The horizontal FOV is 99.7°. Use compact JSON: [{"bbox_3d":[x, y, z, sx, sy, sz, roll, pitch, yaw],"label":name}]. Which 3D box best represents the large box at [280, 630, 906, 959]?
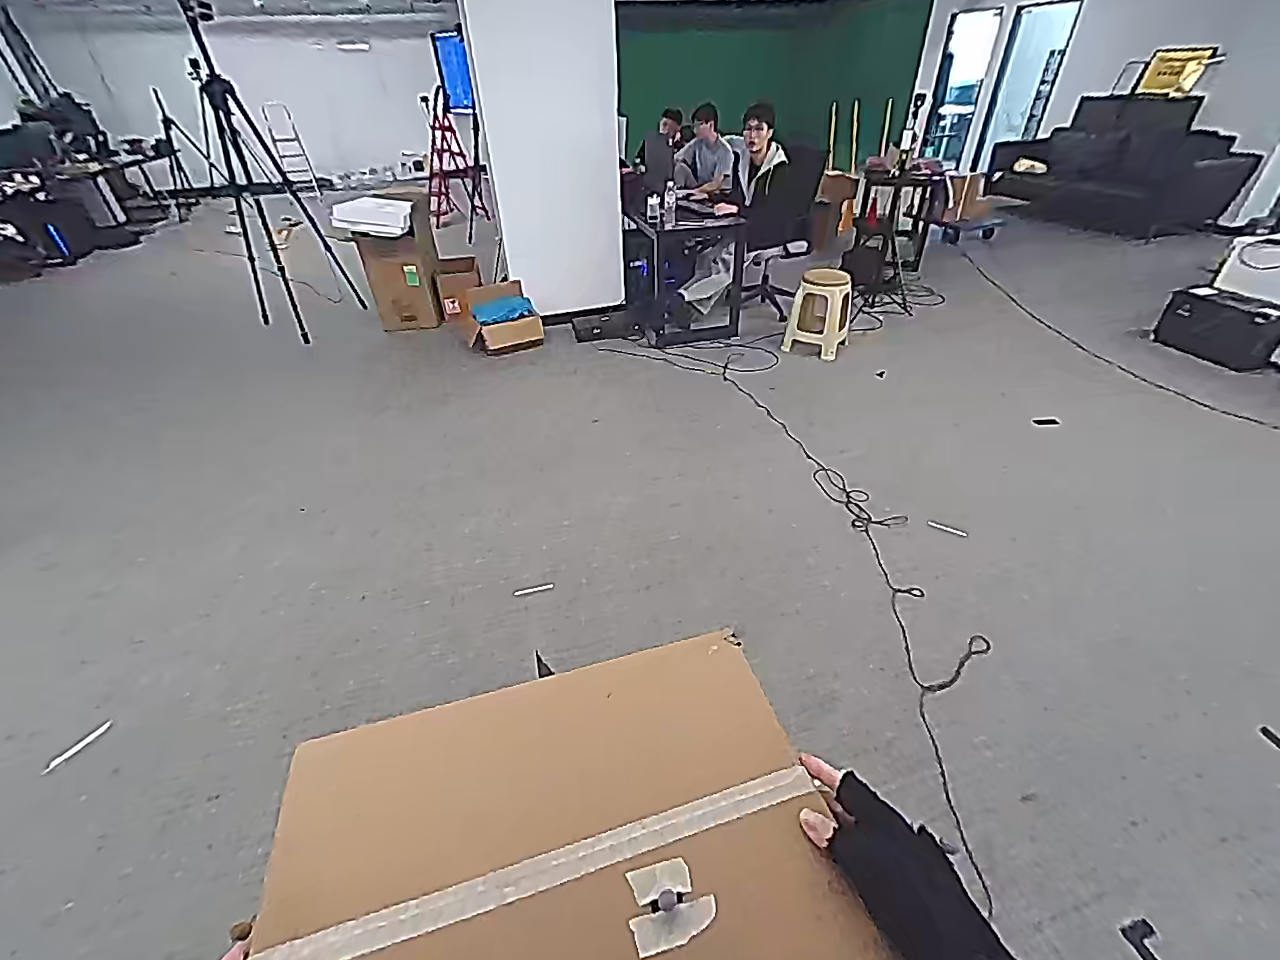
[{"bbox_3d":[-0.052,0.400,0.495,0.408,0.320,0.320,-11,39,-13],"label":"large box"}]
